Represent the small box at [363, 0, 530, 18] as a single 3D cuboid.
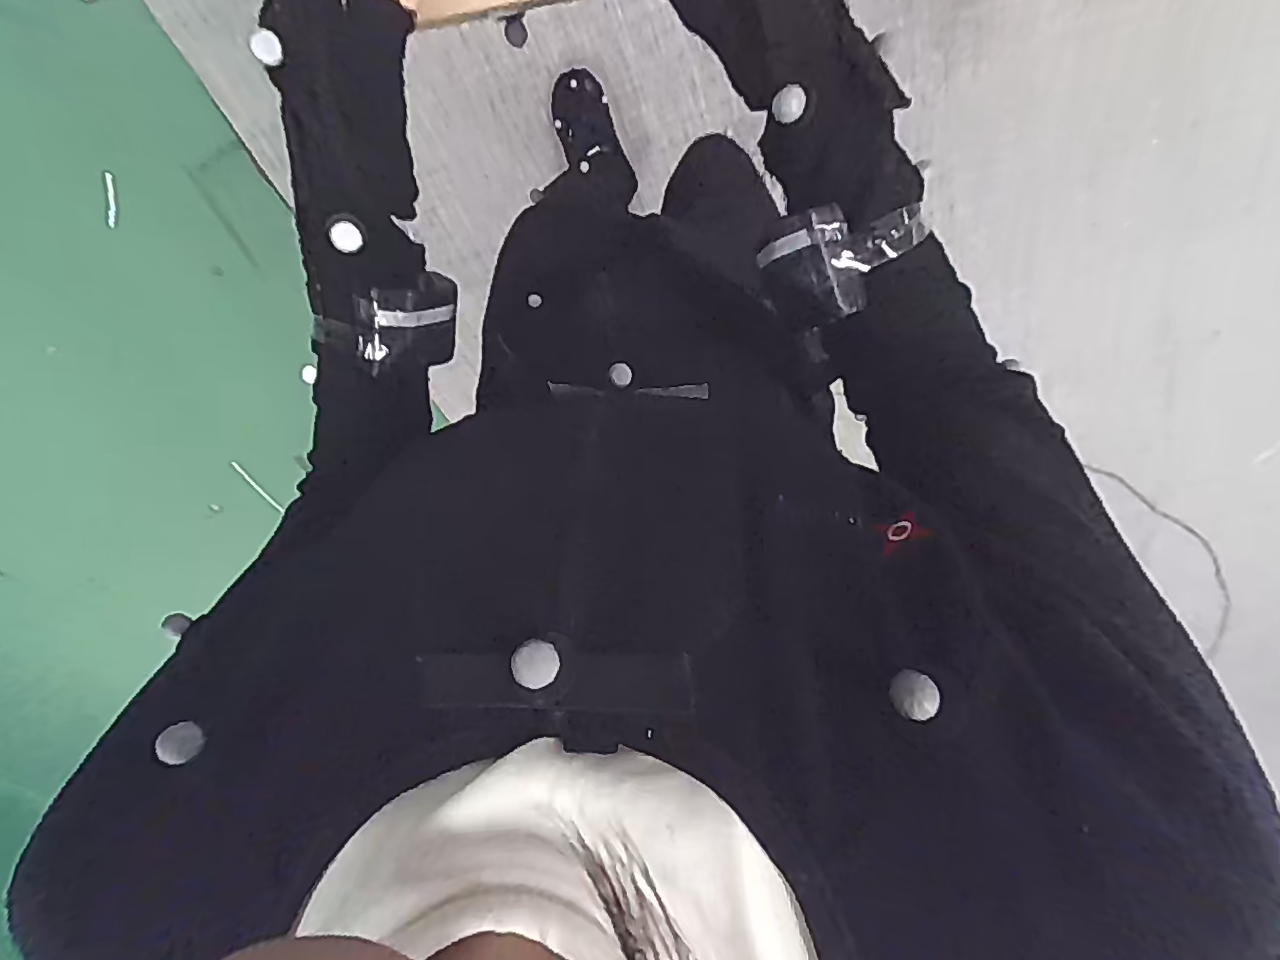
[{"bbox_3d":[-0.086,-0.372,0.285,0.168,0.176,0.179,-11,131,2],"label":"small box"}]
